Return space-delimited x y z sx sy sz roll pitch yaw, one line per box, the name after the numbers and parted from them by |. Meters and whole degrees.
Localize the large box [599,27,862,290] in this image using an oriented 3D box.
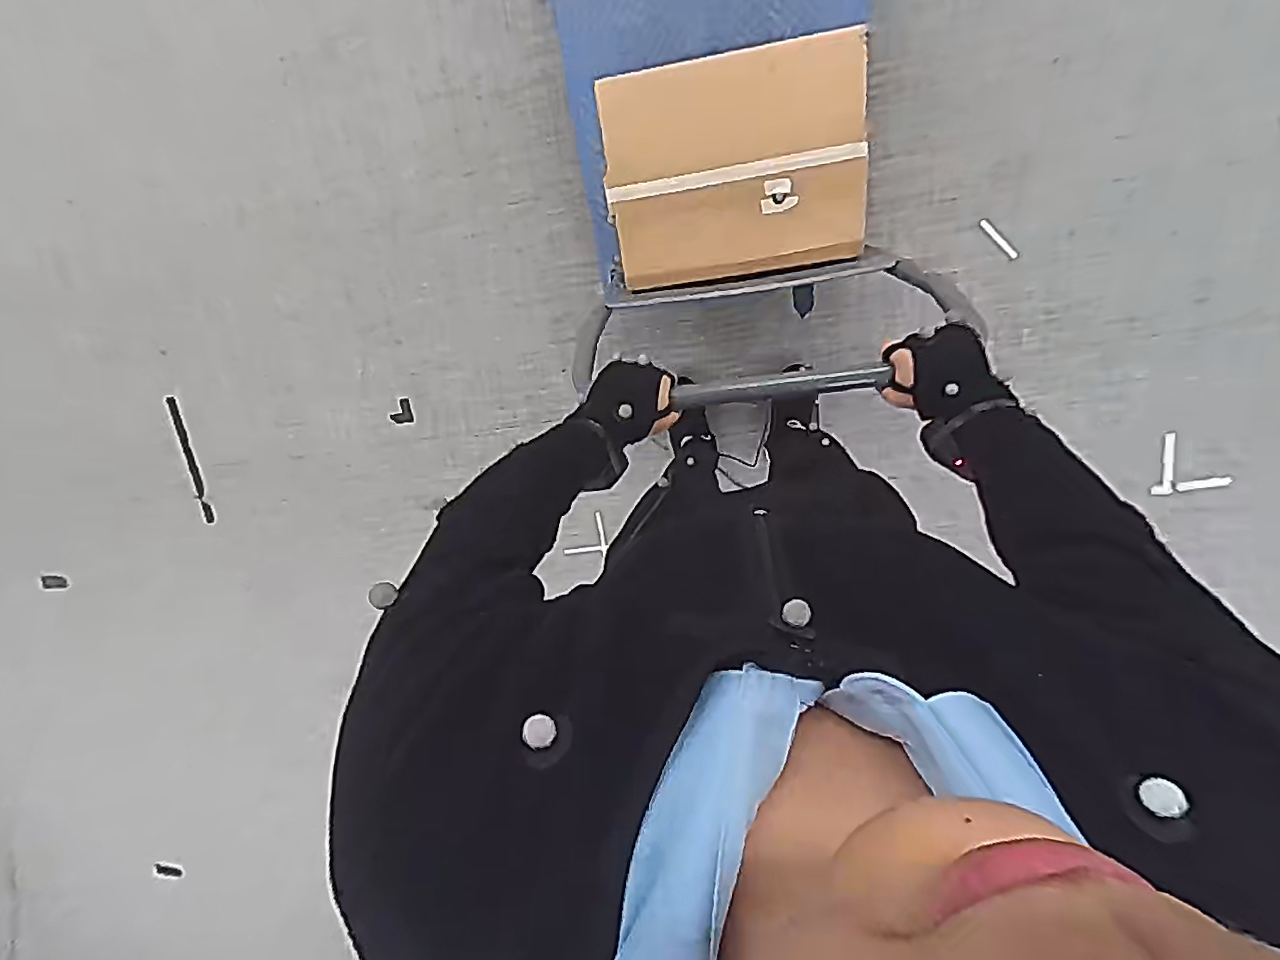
0.163 -0.568 1.013 0.408 0.320 0.320 -7 117 7 | large box
